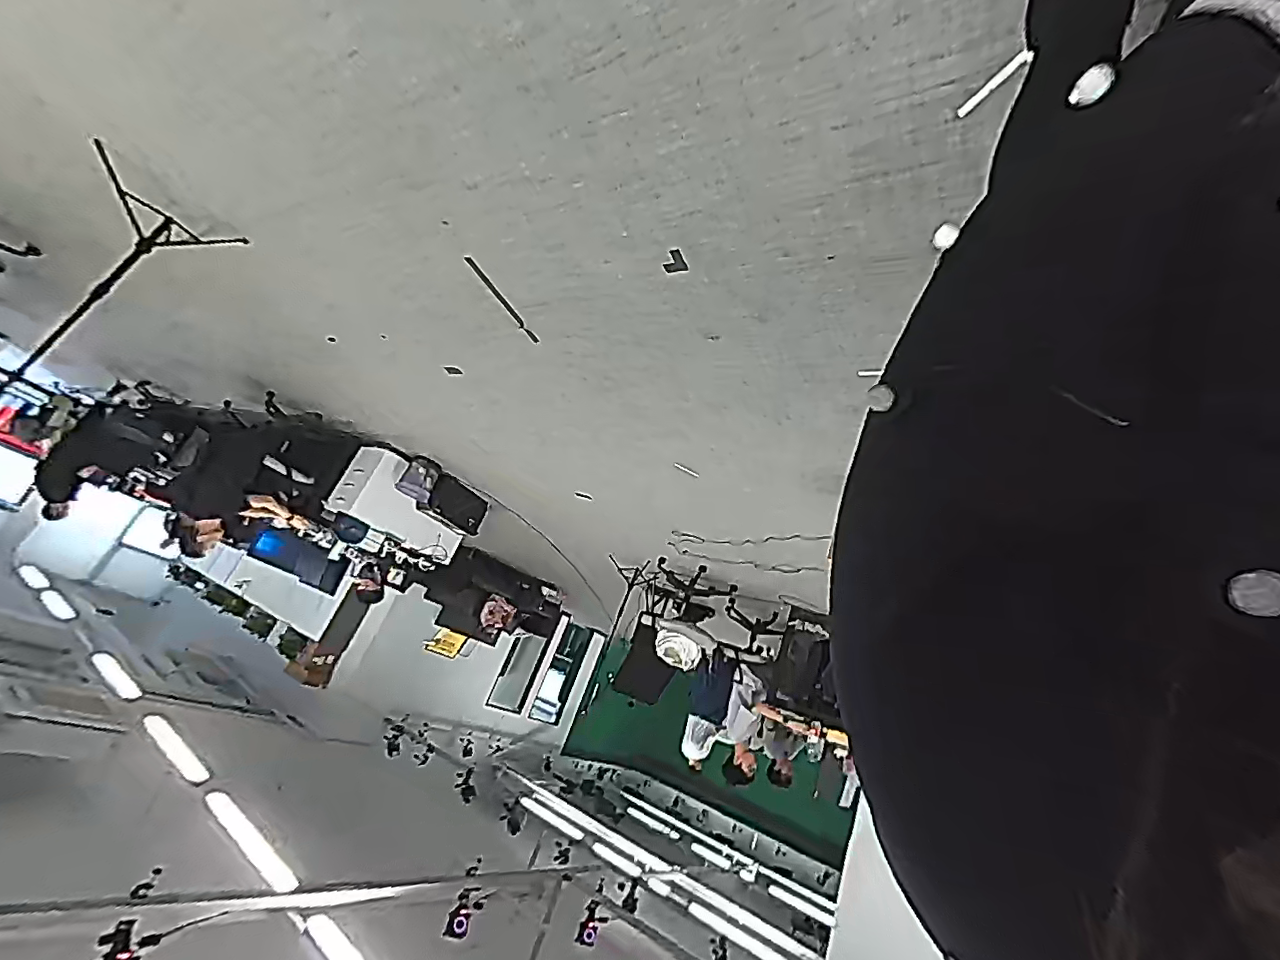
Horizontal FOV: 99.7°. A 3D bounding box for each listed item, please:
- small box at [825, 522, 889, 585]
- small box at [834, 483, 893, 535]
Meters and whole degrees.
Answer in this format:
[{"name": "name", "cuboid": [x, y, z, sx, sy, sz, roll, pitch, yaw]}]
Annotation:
[{"name": "small box", "cuboid": [0.824, 0.274, 2.049, 0.179, 0.176, 0.168, 7, 155, 37]}, {"name": "small box", "cuboid": [0.877, 0.130, 2.109, 0.168, 0.176, 0.179, 6, 153, 36]}]
